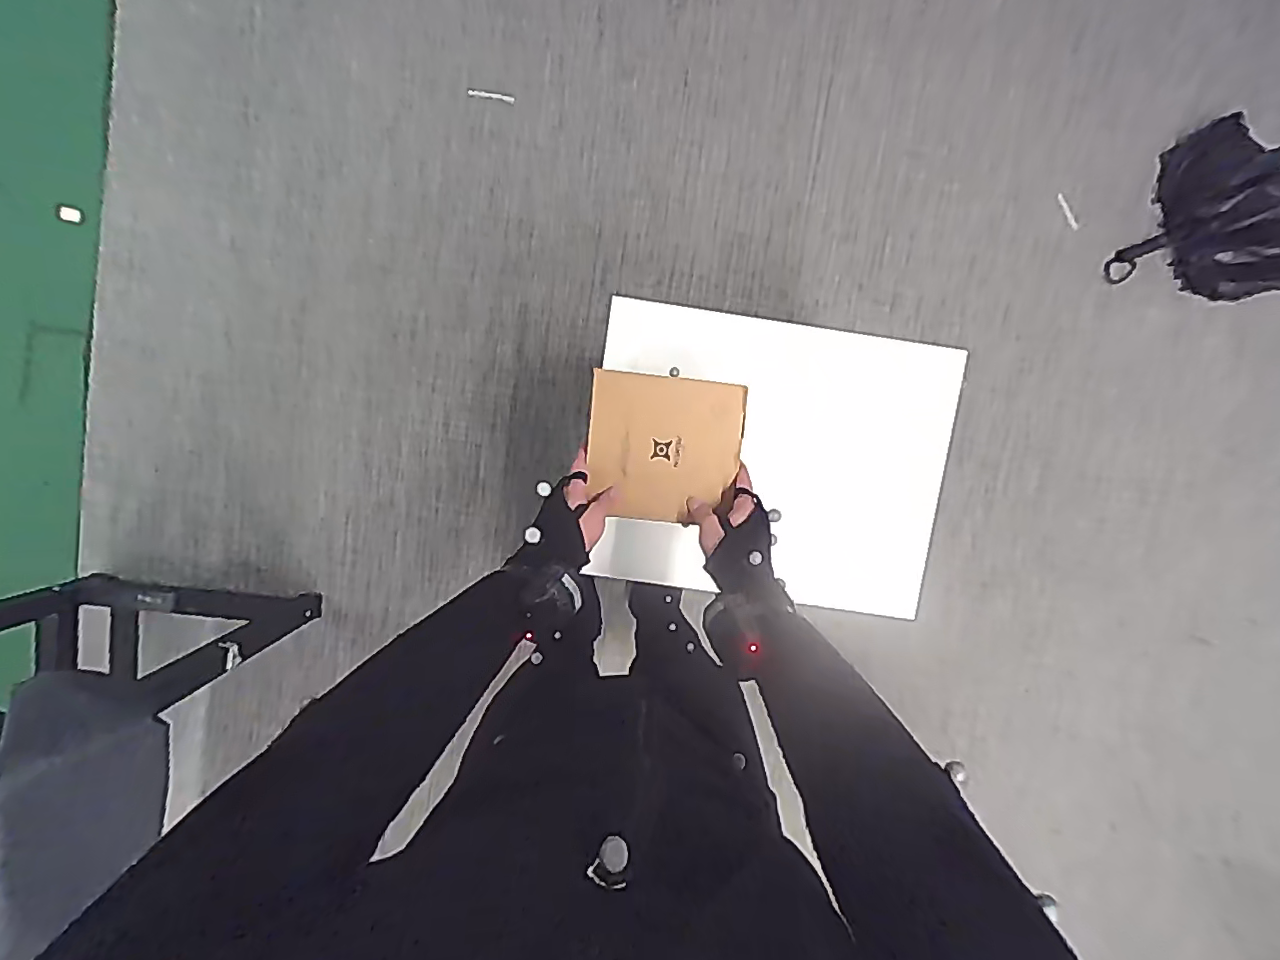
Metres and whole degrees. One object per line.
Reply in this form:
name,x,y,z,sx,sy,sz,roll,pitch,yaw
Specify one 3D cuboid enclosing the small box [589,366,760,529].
small box,0.033,-0.040,0.676,0.179,0.176,0.168,6,93,-4
